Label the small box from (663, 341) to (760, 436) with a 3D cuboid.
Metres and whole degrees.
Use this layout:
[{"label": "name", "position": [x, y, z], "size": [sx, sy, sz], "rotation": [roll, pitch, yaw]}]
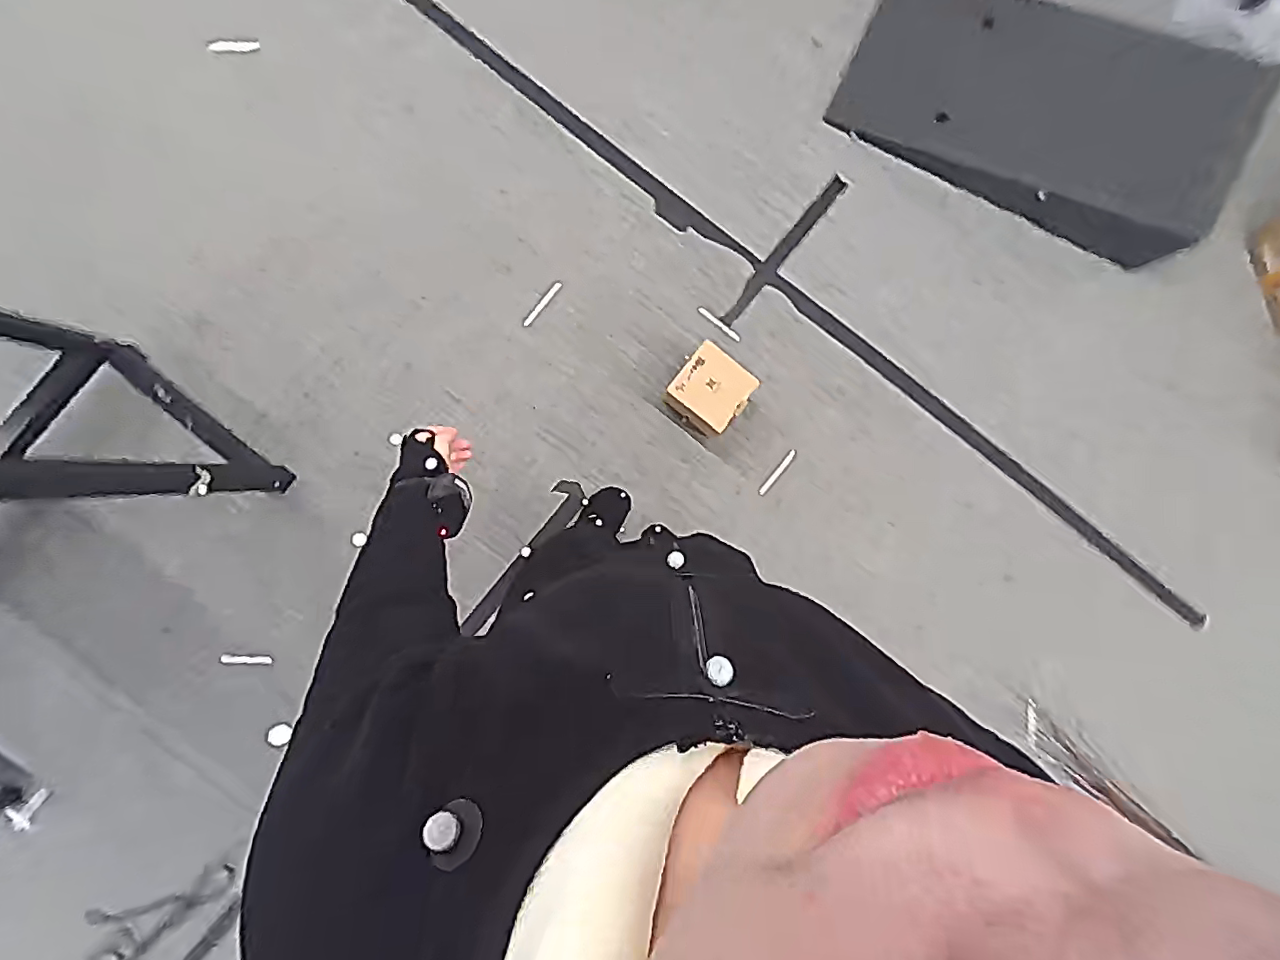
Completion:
[{"label": "small box", "position": [0.179, -0.230, 1.410], "size": [0.179, 0.176, 0.168], "rotation": [39, 90, -2]}]
